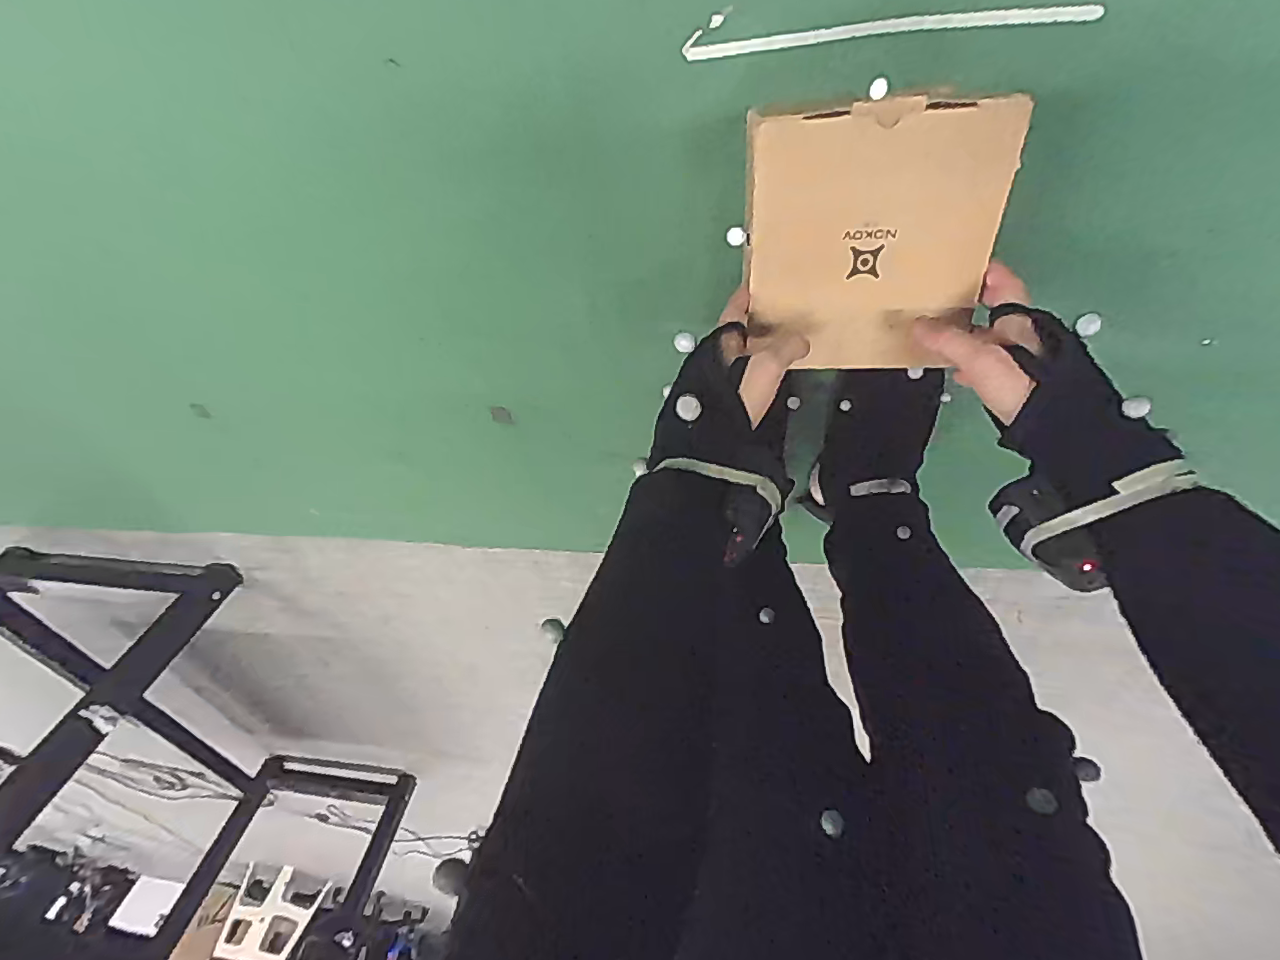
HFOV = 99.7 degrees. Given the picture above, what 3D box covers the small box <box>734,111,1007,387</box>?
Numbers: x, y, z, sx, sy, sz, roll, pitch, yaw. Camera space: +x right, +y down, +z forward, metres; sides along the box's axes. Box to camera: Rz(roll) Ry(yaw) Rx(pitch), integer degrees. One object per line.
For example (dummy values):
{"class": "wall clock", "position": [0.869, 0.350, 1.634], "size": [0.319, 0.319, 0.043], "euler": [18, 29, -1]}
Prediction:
{"class": "small box", "position": [0.165, -0.194, 0.452], "size": [0.168, 0.176, 0.179], "euler": [0, 124, 11]}
